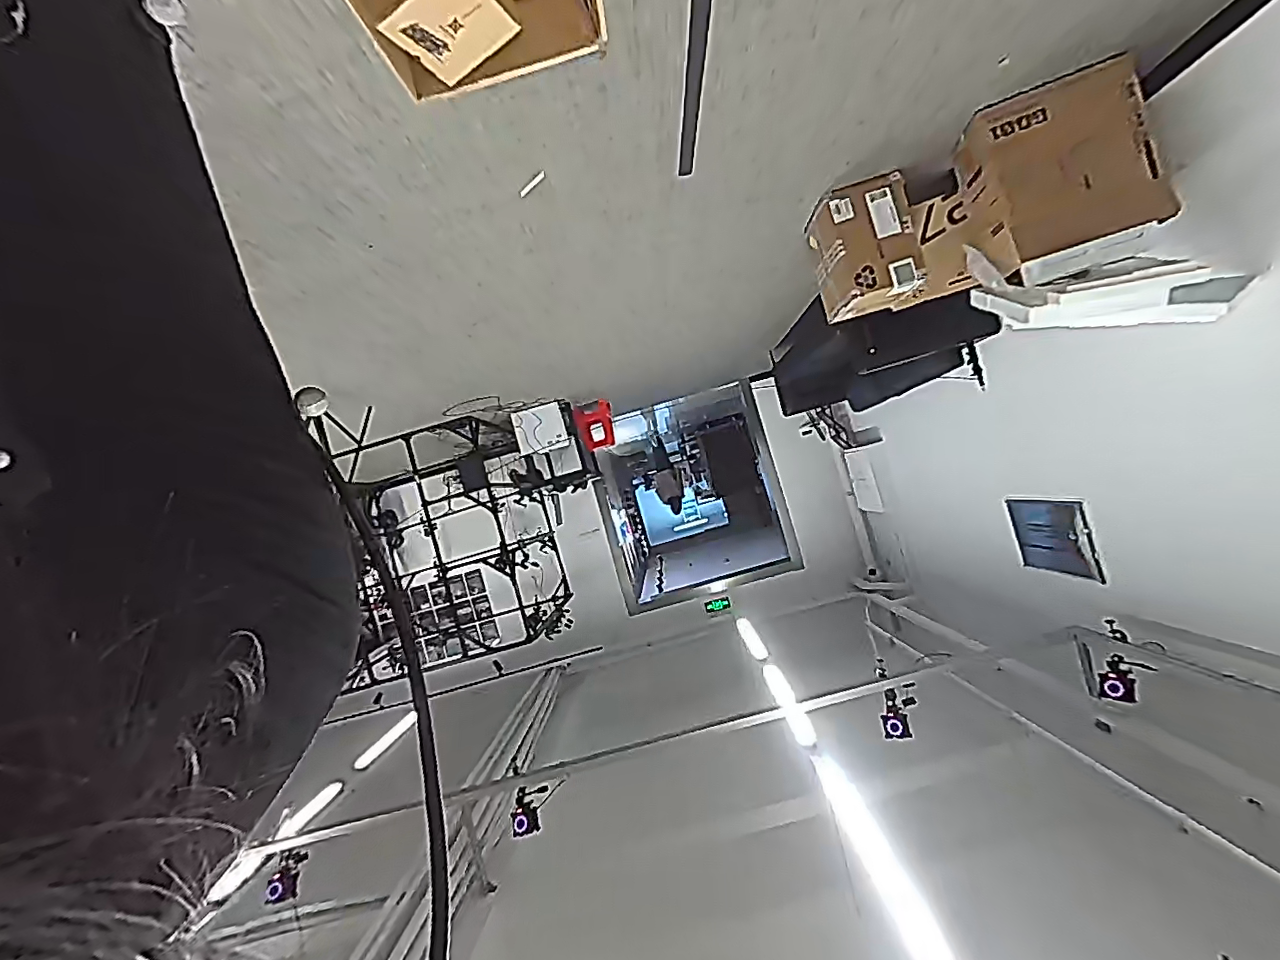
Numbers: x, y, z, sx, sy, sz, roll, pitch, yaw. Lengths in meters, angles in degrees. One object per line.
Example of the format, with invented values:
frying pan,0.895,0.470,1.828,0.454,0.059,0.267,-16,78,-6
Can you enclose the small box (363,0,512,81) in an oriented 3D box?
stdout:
small box,-0.345,-0.832,0.897,0.179,0.176,0.168,-17,177,24
